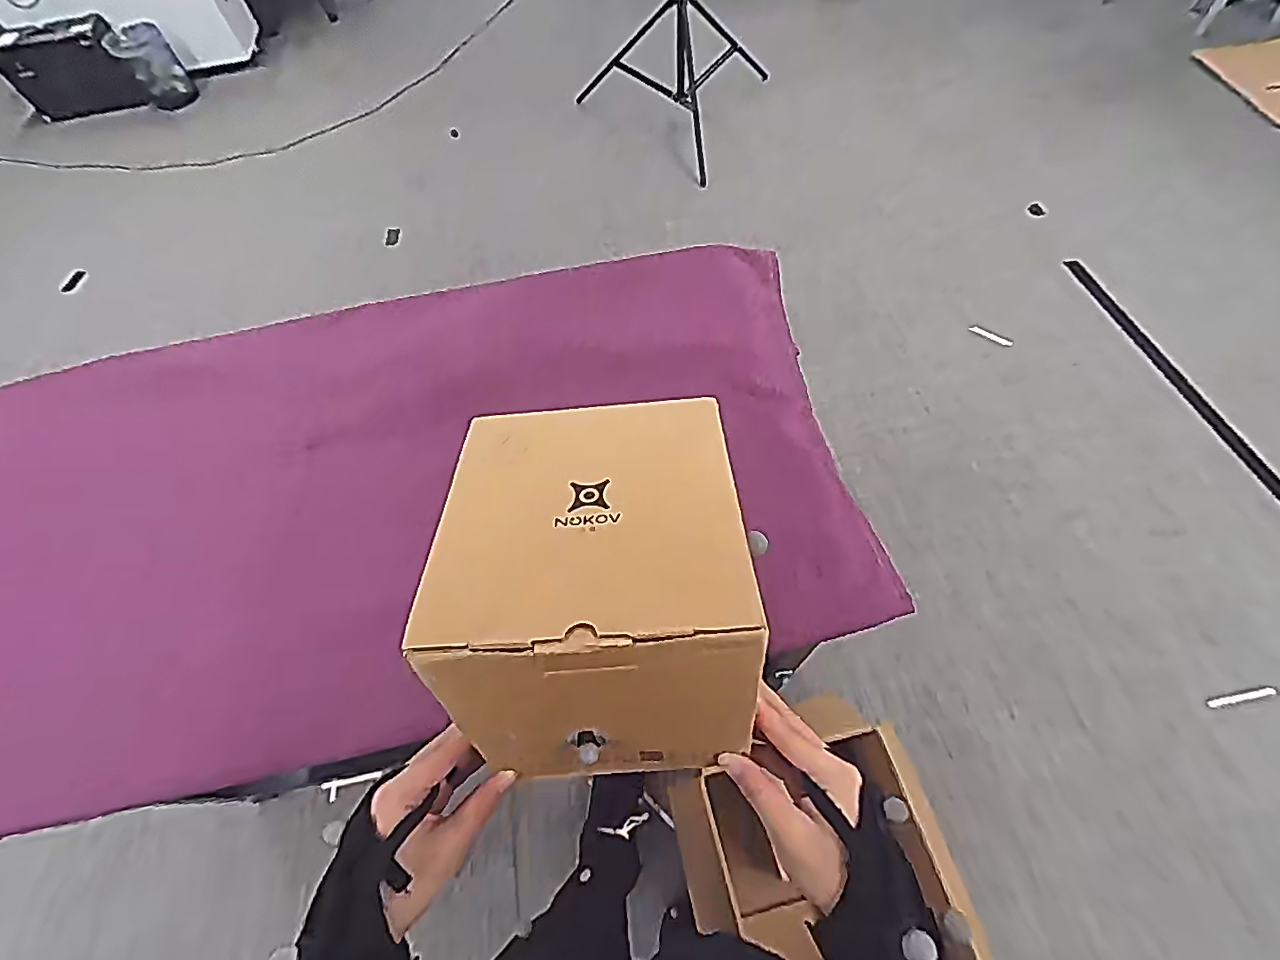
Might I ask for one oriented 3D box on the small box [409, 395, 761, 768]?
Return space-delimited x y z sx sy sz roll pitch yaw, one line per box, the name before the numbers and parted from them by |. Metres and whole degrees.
small box | -0.022 0.067 0.360 0.168 0.176 0.179 -5 45 2
